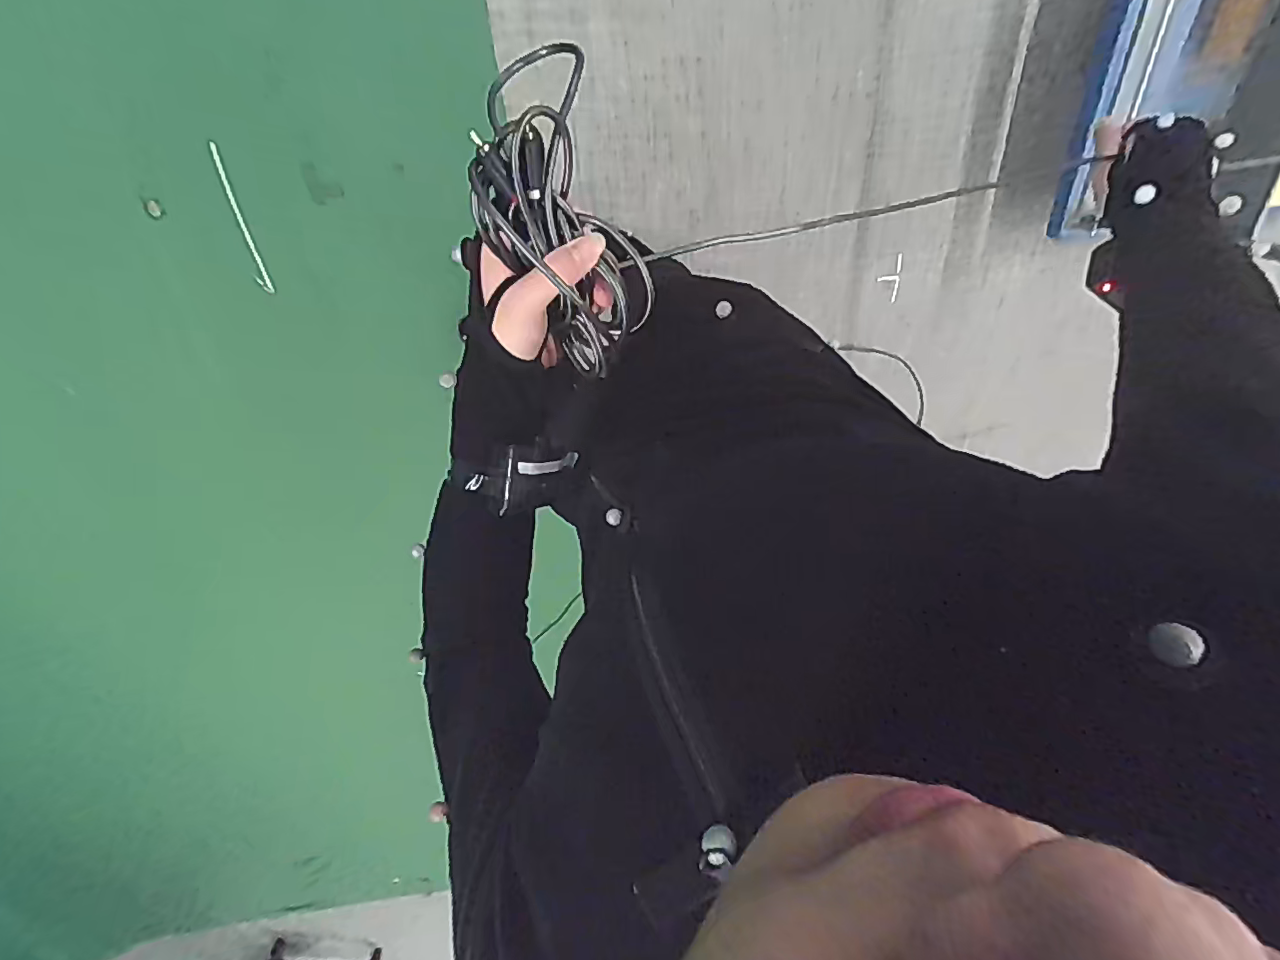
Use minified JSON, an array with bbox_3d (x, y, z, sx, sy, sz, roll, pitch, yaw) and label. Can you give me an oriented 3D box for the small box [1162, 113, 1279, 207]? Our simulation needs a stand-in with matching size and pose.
[{"bbox_3d":[1.336,-0.709,1.193,0.179,0.176,0.168,-6,122,-2],"label":"small box"}]
